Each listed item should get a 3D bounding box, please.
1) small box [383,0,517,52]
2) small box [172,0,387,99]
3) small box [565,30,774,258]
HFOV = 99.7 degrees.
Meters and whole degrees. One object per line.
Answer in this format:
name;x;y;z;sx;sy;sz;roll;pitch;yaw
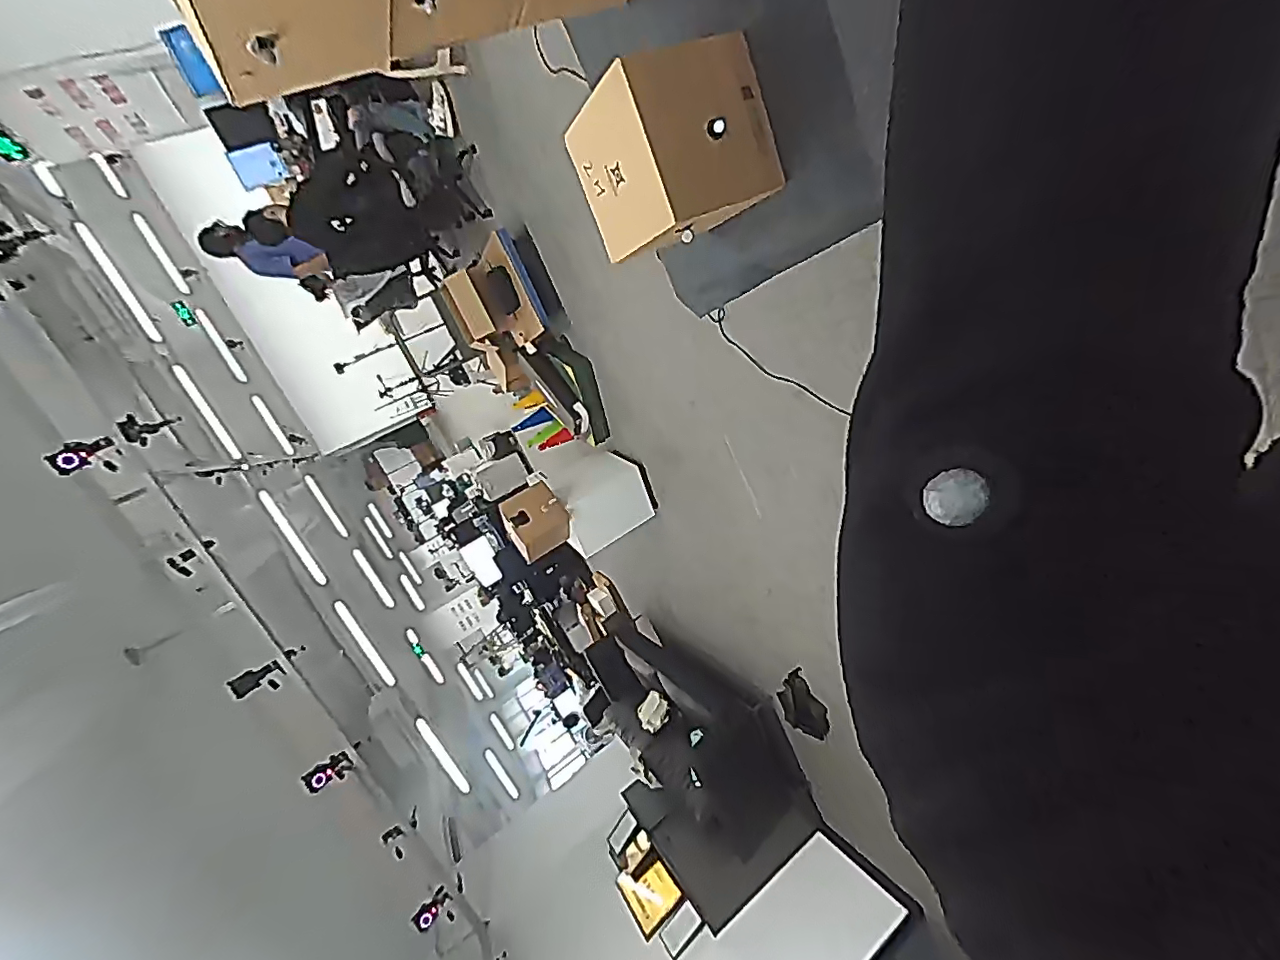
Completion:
small box;-0.215;-0.577;0.527;0.168;0.176;0.179;60;159;-13
small box;-0.339;-0.484;0.470;0.168;0.176;0.179;61;159;-15
small box;0.040;-0.399;0.657;0.179;0.176;0.168;13;129;63
